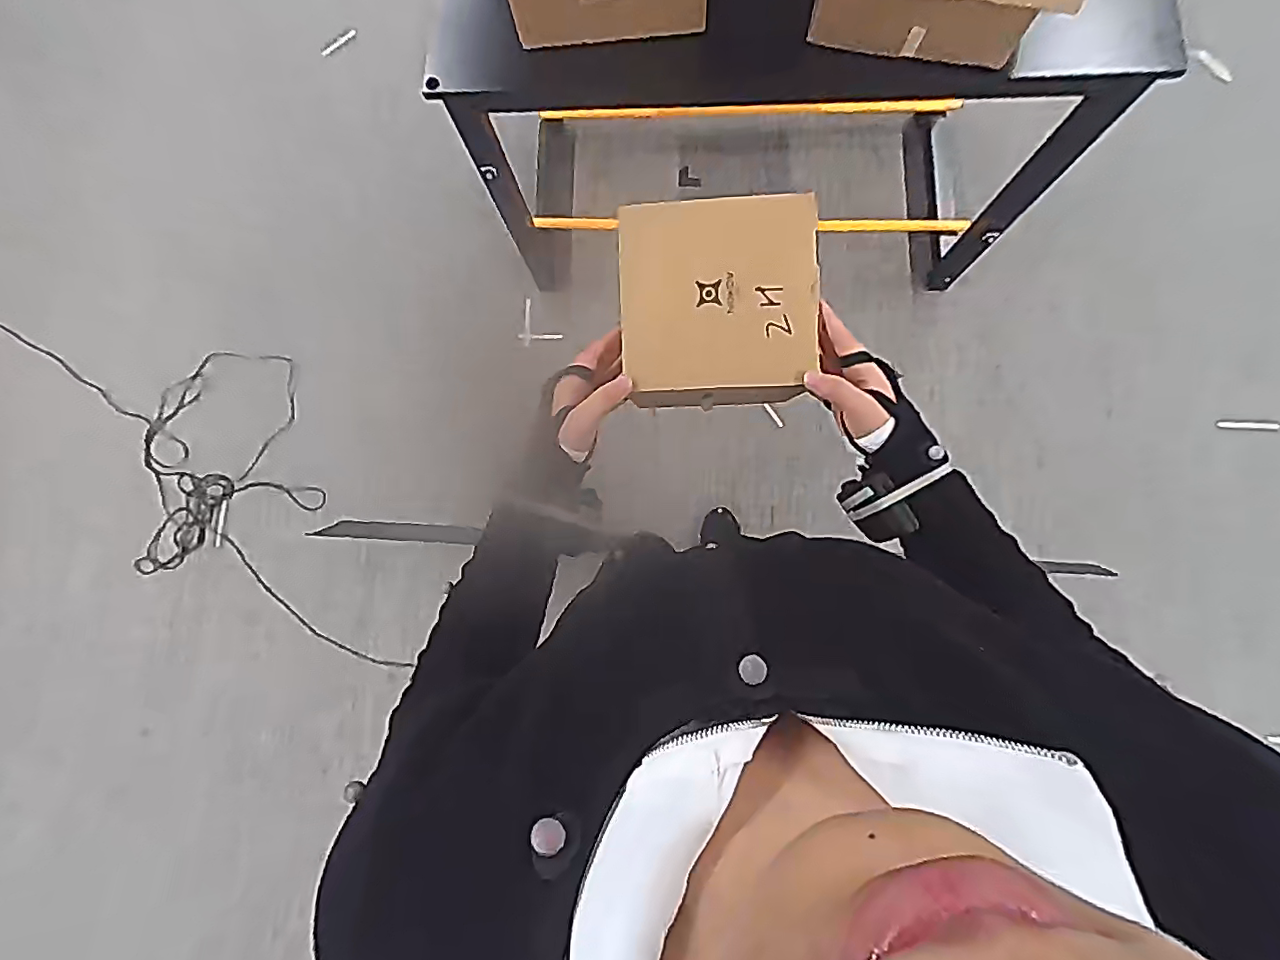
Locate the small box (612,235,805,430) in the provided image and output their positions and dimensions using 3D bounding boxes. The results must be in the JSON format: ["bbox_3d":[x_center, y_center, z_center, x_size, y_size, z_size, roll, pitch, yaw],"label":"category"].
[{"bbox_3d":[0.069,-0.140,0.572,0.179,0.176,0.168,-1,93,4],"label":"small box"}]
